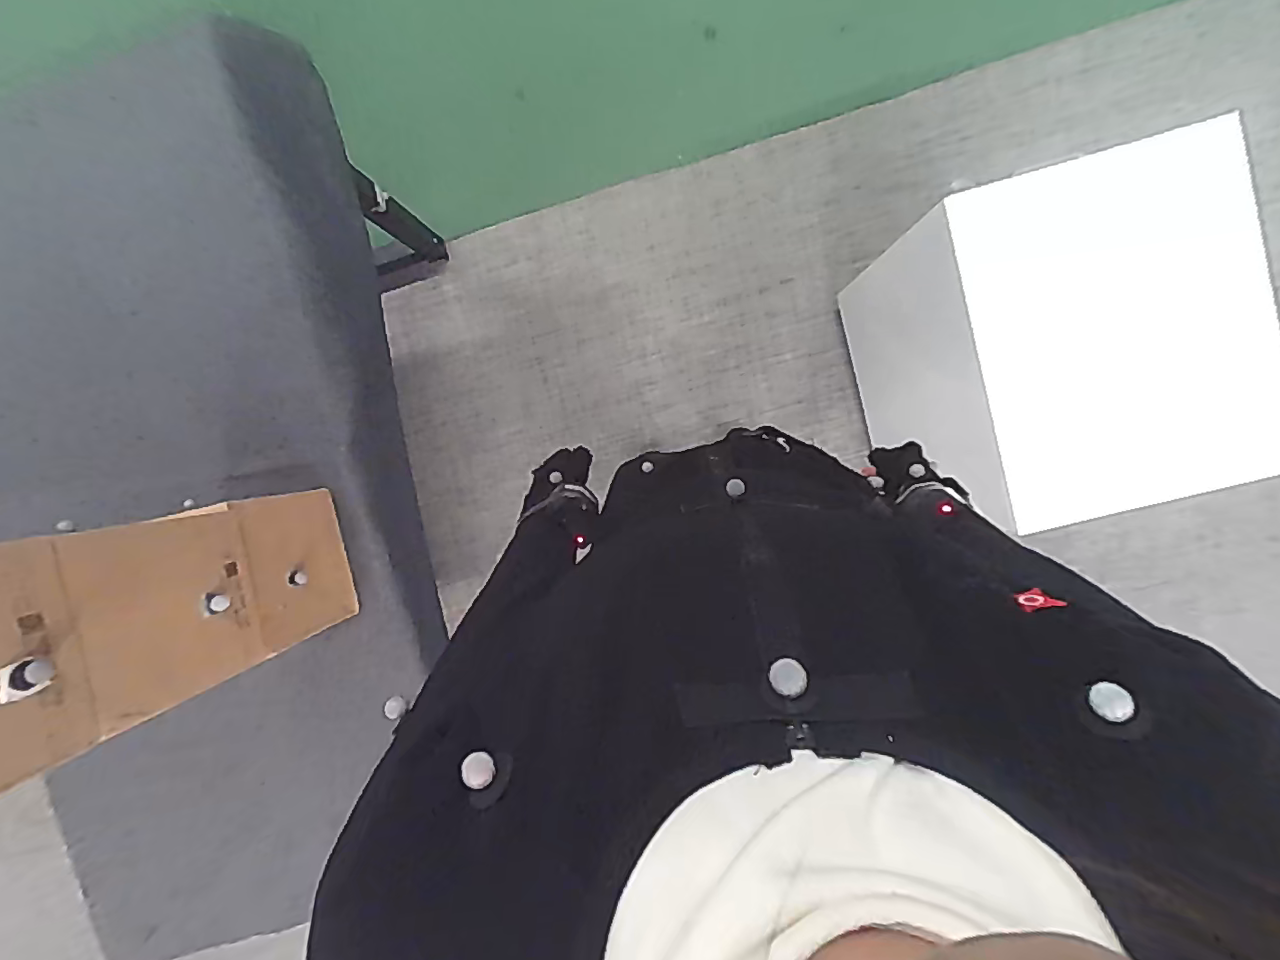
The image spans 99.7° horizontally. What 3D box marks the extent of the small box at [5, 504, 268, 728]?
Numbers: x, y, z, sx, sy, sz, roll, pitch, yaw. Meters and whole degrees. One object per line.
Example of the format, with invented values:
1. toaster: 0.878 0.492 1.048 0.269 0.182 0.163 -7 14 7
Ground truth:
1. small box: -0.509 0.125 0.514 0.179 0.176 0.168 -12 93 9

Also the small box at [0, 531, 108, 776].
1. small box: -0.524 0.139 0.353 0.179 0.176 0.168 -11 95 6

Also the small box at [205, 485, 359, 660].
1. small box: -0.487 0.112 0.677 0.168 0.176 0.179 -12 94 7
